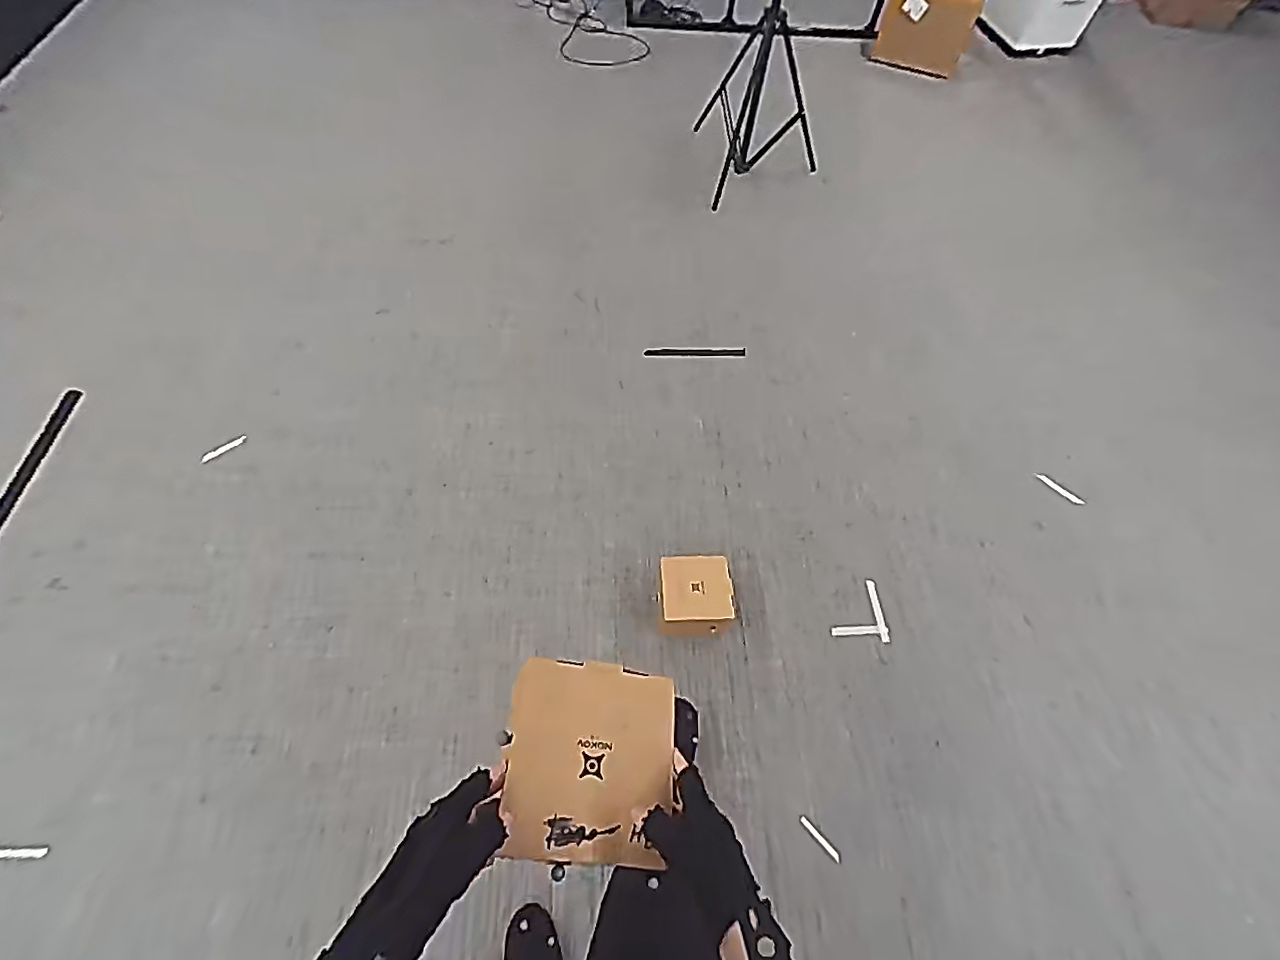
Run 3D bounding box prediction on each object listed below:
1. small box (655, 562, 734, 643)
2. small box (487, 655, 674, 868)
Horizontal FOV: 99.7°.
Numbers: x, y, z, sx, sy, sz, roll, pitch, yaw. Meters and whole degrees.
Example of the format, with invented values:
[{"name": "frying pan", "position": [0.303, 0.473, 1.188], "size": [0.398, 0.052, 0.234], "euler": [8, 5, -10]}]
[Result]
[{"name": "small box", "position": [0.135, 0.323, 1.413], "size": [0.179, 0.176, 0.168], "euler": [-1, 60, -3]}, {"name": "small box", "position": [-0.068, 0.316, 0.600], "size": [0.168, 0.176, 0.179], "euler": [13, 54, -11]}]
